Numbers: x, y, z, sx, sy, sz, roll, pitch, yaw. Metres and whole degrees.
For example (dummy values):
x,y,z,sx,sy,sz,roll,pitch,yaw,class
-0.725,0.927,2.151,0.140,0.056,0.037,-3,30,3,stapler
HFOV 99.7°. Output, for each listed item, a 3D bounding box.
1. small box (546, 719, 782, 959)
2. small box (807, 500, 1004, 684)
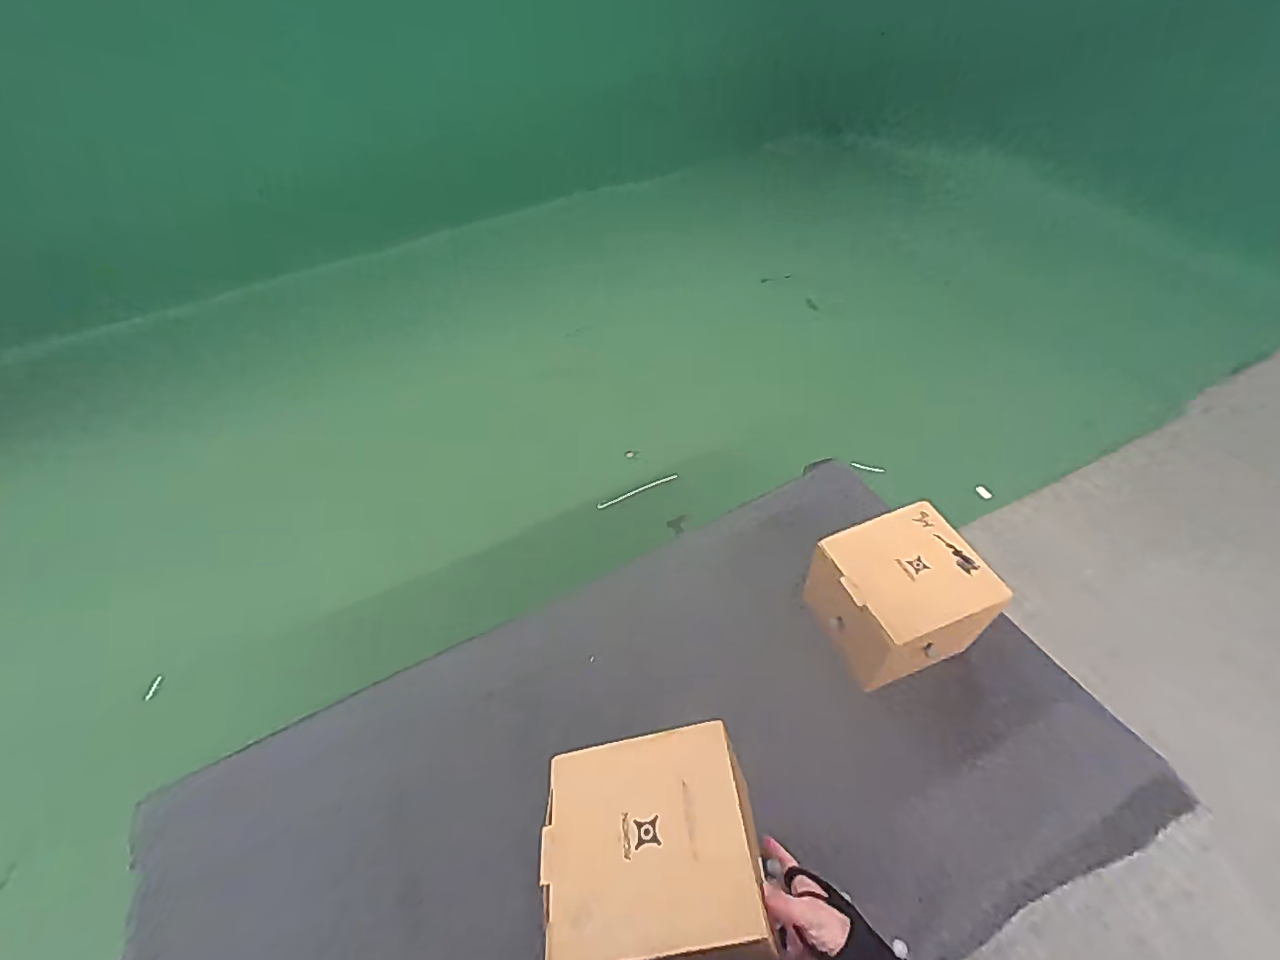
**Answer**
x,y,z,sx,sy,sz,roll,pitch,yaw,class
0.024,0.359,0.515,0.179,0.176,0.168,-14,41,5,small box
0.353,0.162,0.765,0.179,0.176,0.168,-19,51,-9,small box
